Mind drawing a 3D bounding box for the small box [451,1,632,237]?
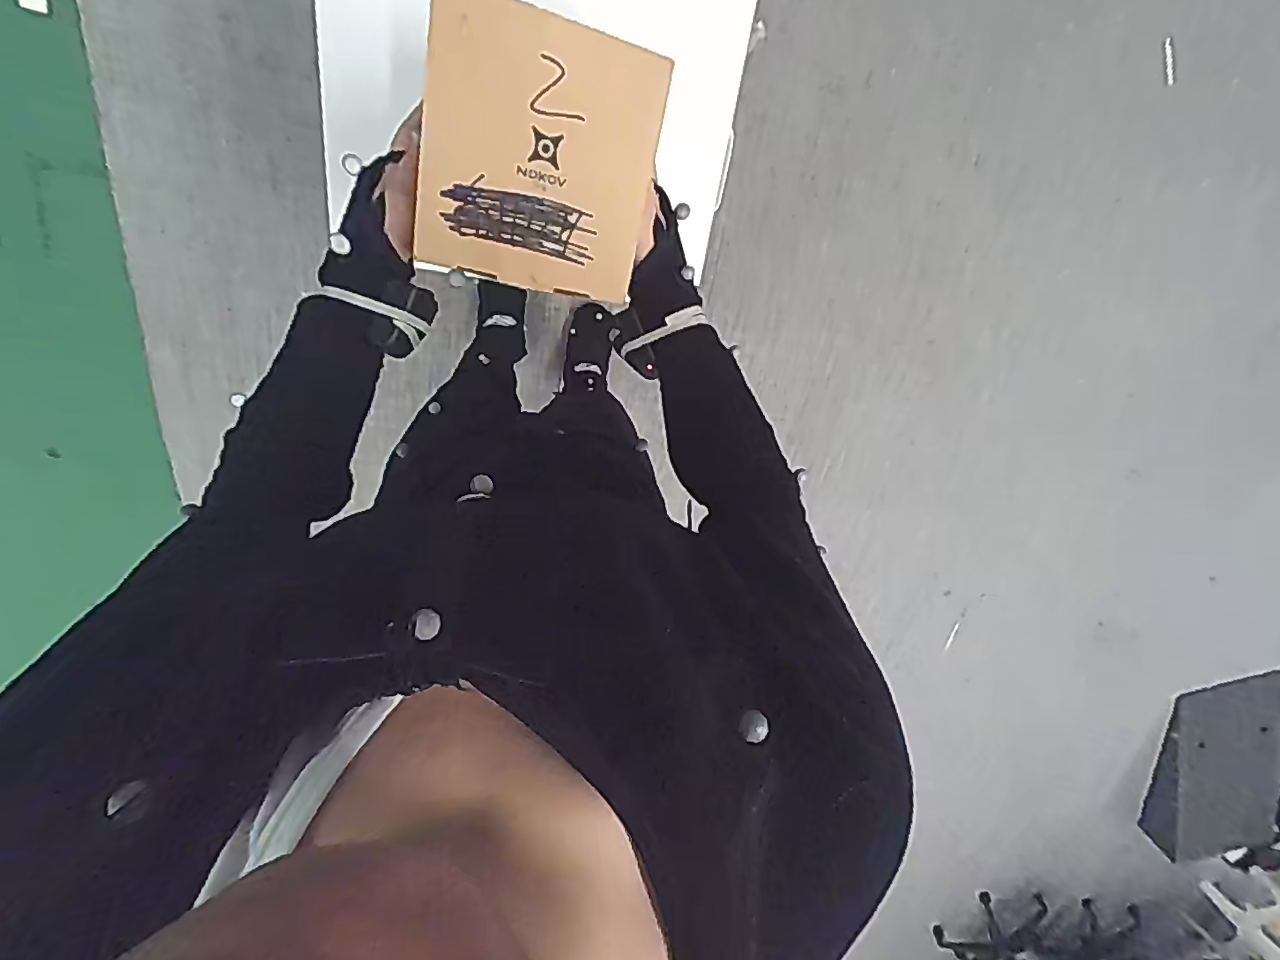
[{"bbox_3d":[-0.113,-0.393,0.624,0.168,0.176,0.179,8,114,-11],"label":"small box"}]
